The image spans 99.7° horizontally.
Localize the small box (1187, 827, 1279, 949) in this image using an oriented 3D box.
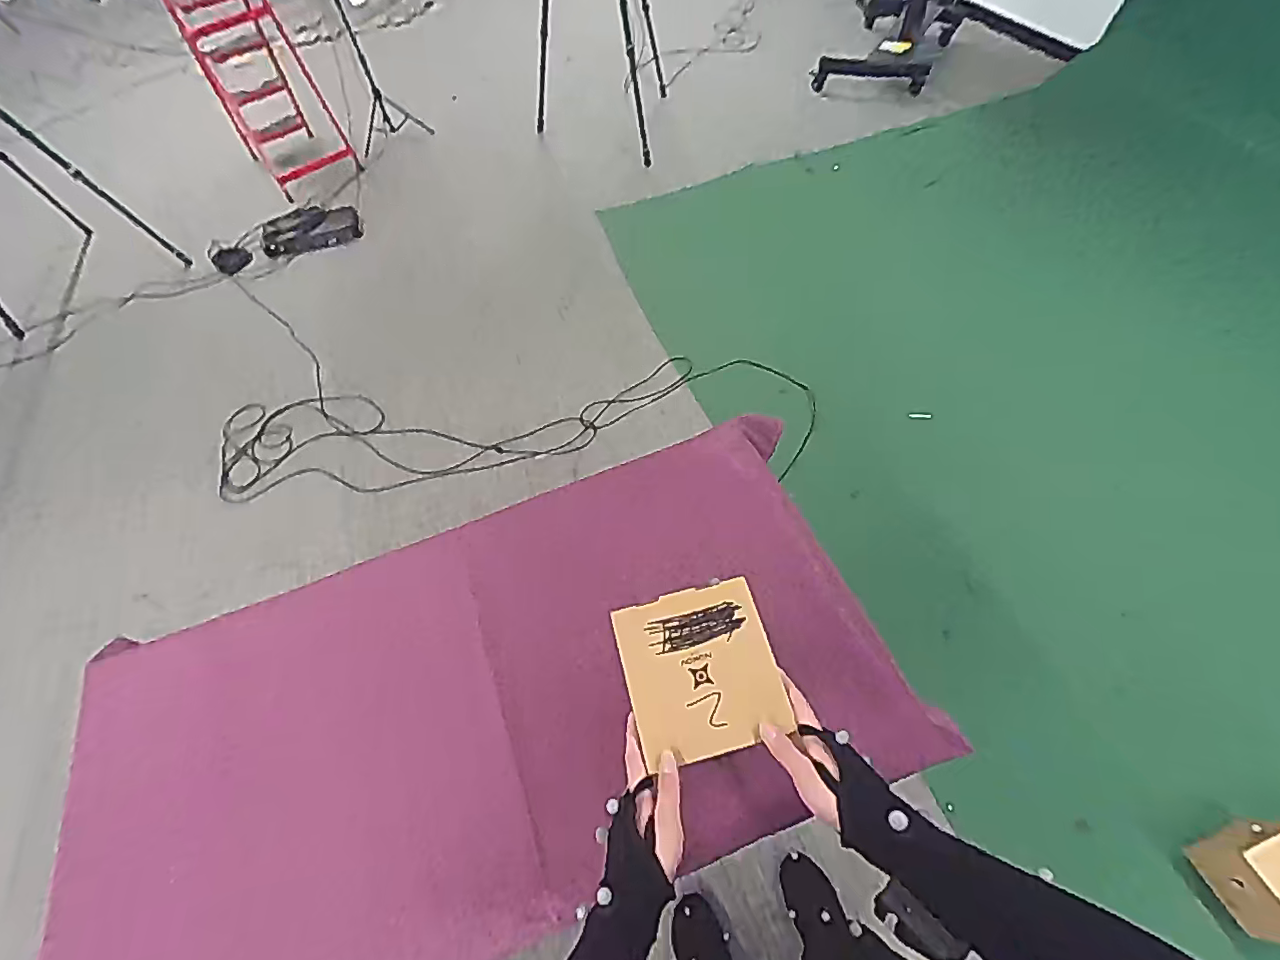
[{"bbox_3d":[1.328,0.856,1.135,0.179,0.176,0.168,-19,57,-9],"label":"small box"}]
